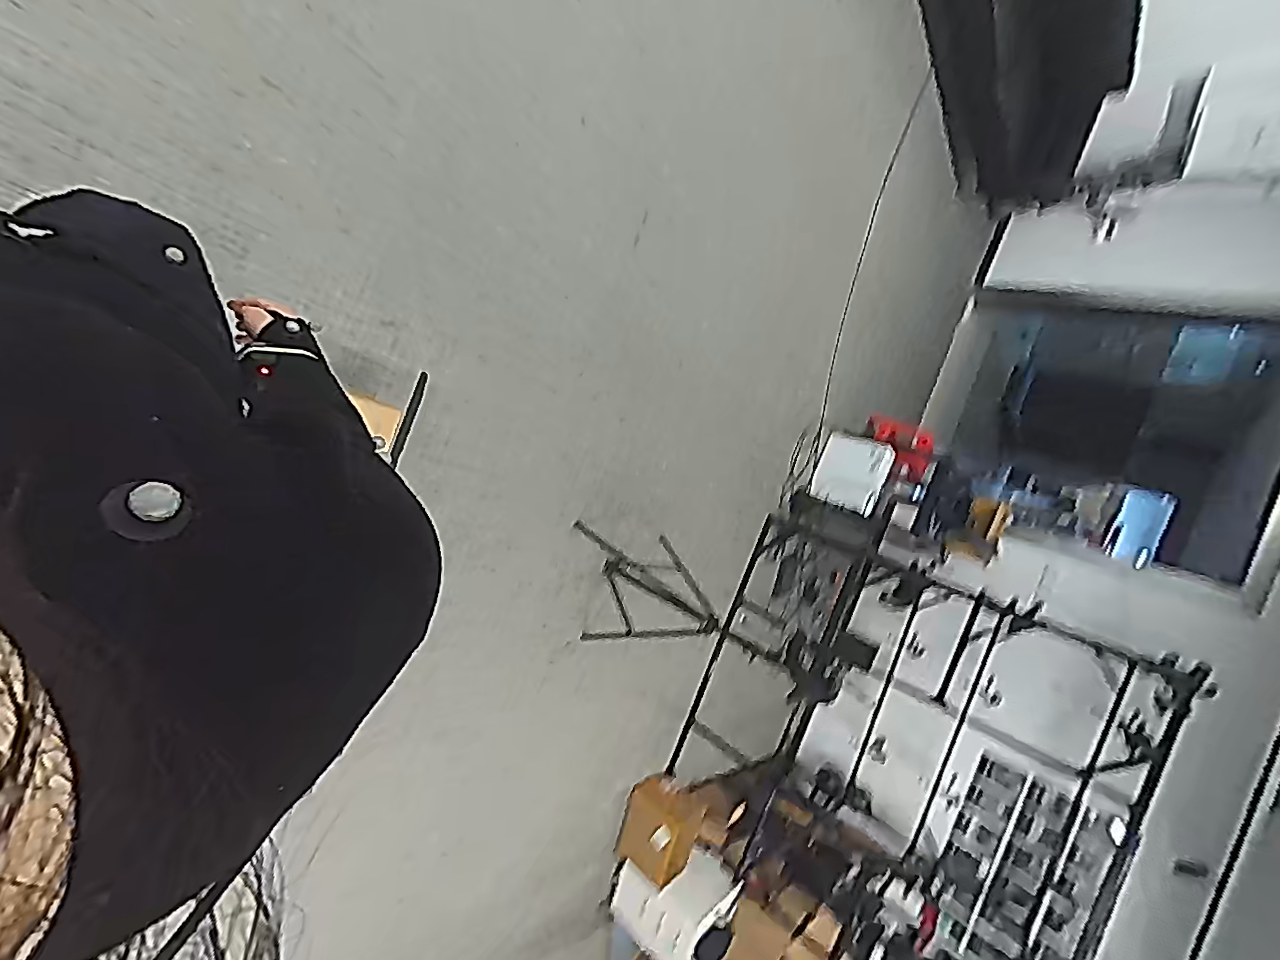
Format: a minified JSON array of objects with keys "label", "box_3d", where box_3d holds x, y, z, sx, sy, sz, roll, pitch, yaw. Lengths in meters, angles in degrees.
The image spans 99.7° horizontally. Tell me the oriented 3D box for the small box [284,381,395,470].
[{"label":"small box","box_3d":[-0.759,-0.139,1.359,0.179,0.176,0.168,18,94,-52]}]
